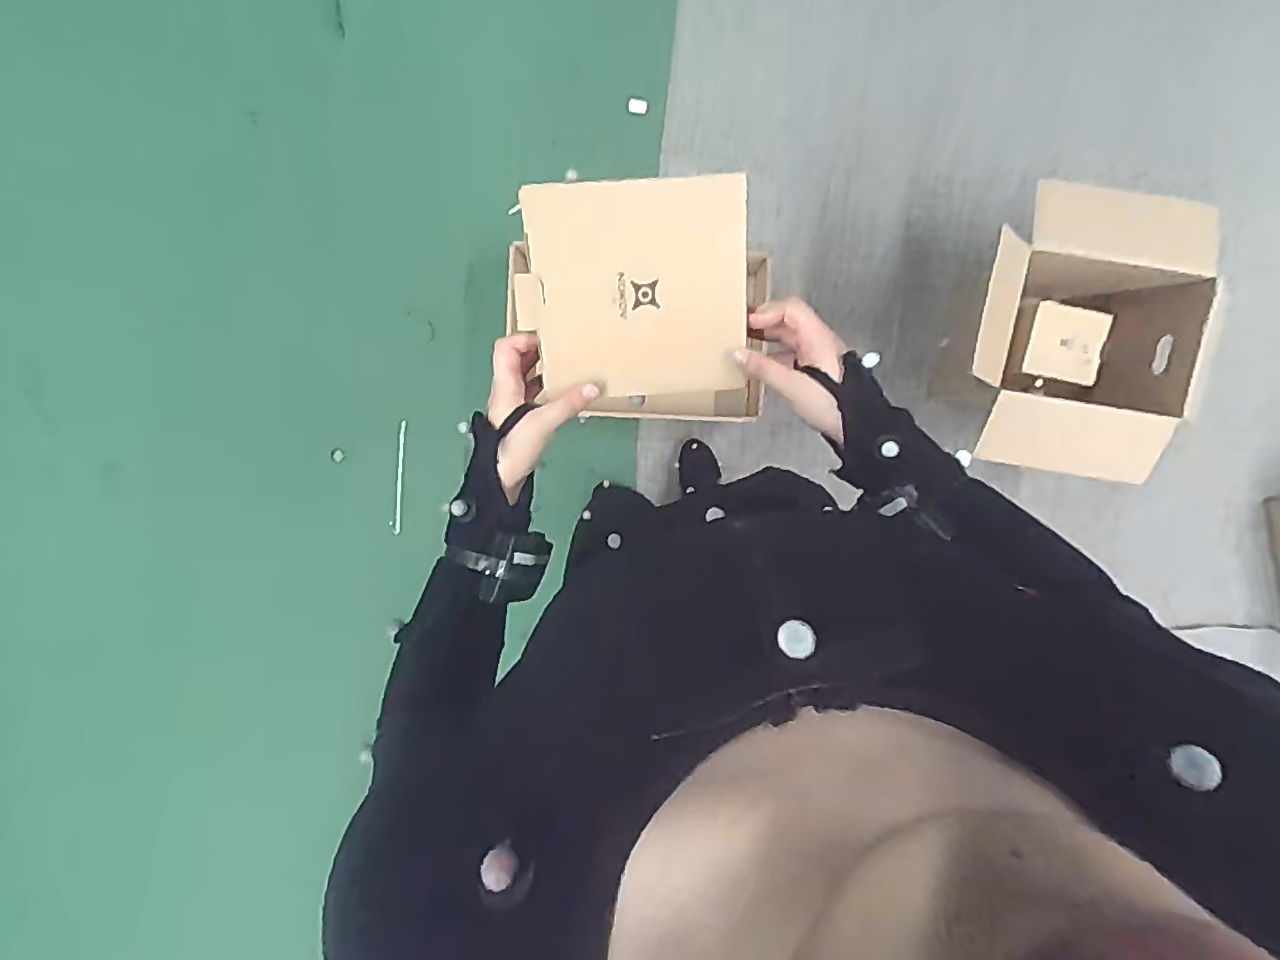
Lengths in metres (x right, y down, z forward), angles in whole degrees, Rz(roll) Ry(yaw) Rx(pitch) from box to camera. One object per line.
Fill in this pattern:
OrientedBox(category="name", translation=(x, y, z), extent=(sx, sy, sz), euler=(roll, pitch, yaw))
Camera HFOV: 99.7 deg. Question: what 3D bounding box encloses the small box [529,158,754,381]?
OrientedBox(category="small box", translation=(0.002, -0.194, 0.514), extent=(0.179, 0.176, 0.168), euler=(-4, 110, 0))
